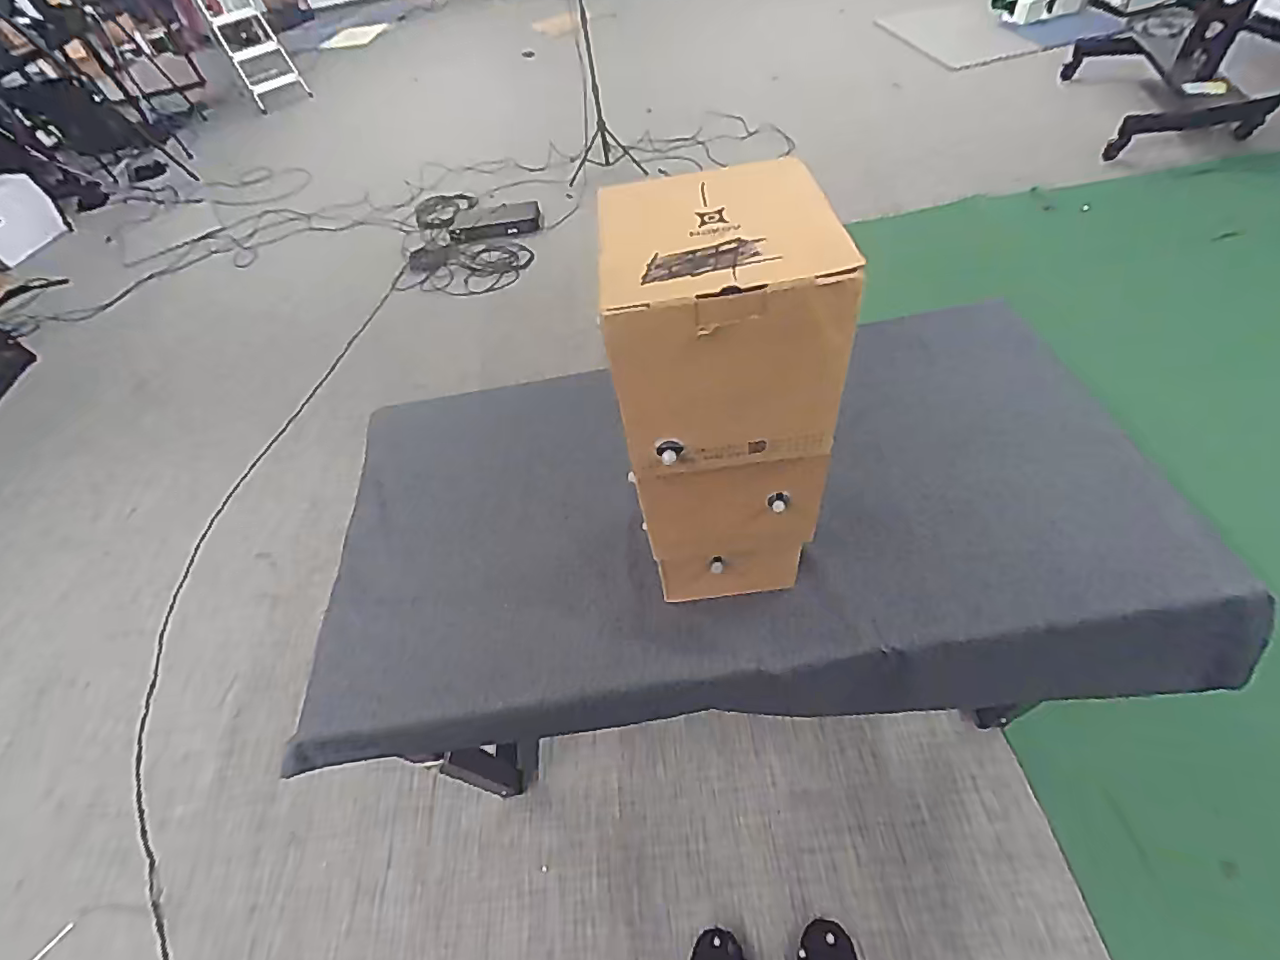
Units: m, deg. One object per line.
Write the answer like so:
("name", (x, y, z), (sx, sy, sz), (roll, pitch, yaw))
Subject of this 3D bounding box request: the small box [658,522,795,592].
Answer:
("small box", (0.104, 0.036, 0.733), (0.179, 0.176, 0.168), (-10, 52, 1))

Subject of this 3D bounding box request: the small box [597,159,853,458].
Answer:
("small box", (0.060, -0.132, 0.452), (0.168, 0.176, 0.179), (-7, 51, 4))

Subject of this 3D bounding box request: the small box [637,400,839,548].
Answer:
("small box", (0.084, -0.047, 0.571), (0.179, 0.176, 0.168), (-11, 53, 1))
